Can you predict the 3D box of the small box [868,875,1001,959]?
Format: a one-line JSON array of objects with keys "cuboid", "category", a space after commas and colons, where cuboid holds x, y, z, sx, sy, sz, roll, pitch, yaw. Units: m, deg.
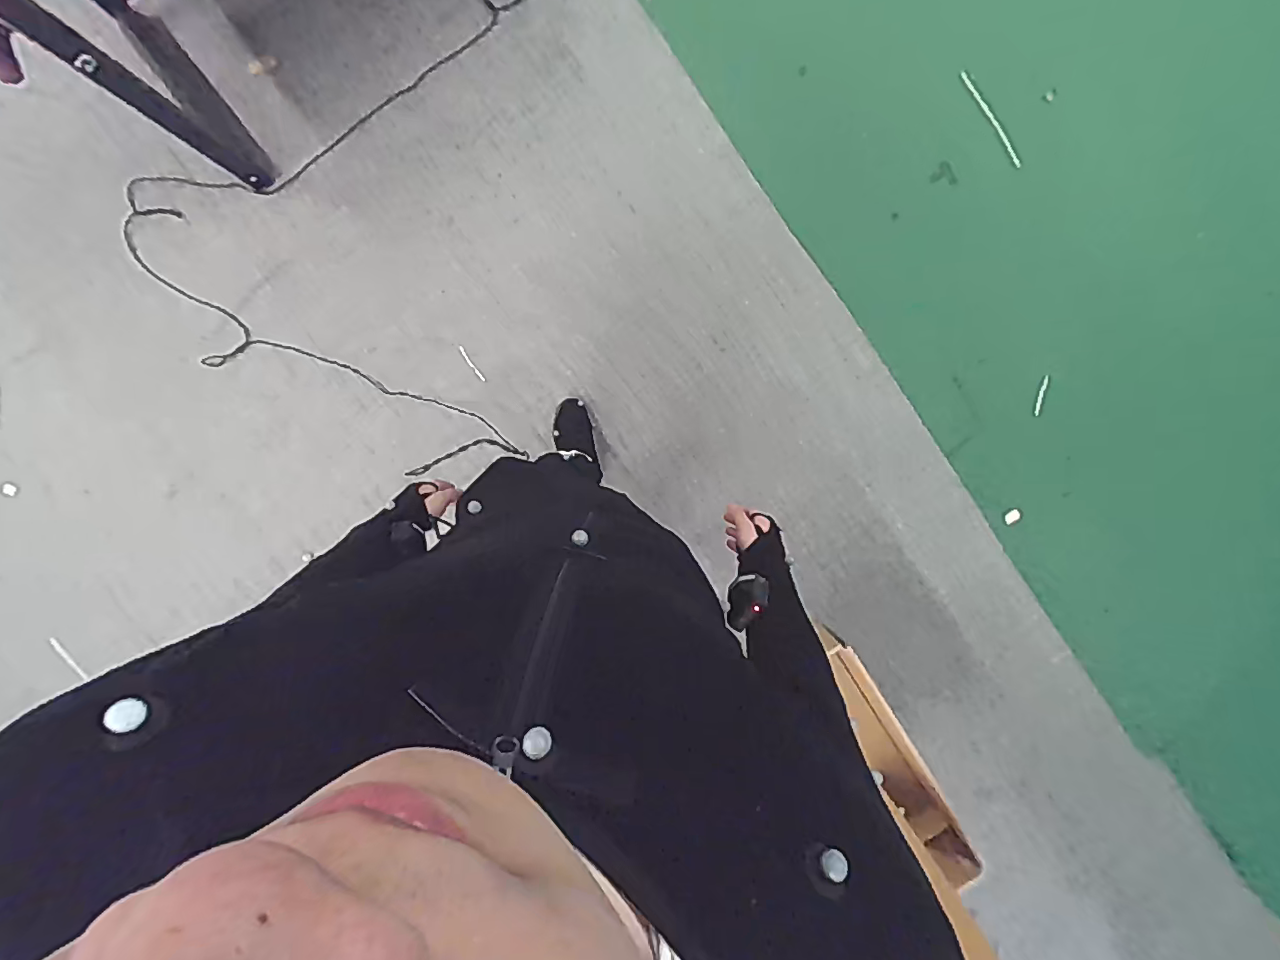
[{"cuboid": [0.504, 0.814, 0.887, 0.179, 0.176, 0.168, -34, 95, 2], "category": "small box"}]
